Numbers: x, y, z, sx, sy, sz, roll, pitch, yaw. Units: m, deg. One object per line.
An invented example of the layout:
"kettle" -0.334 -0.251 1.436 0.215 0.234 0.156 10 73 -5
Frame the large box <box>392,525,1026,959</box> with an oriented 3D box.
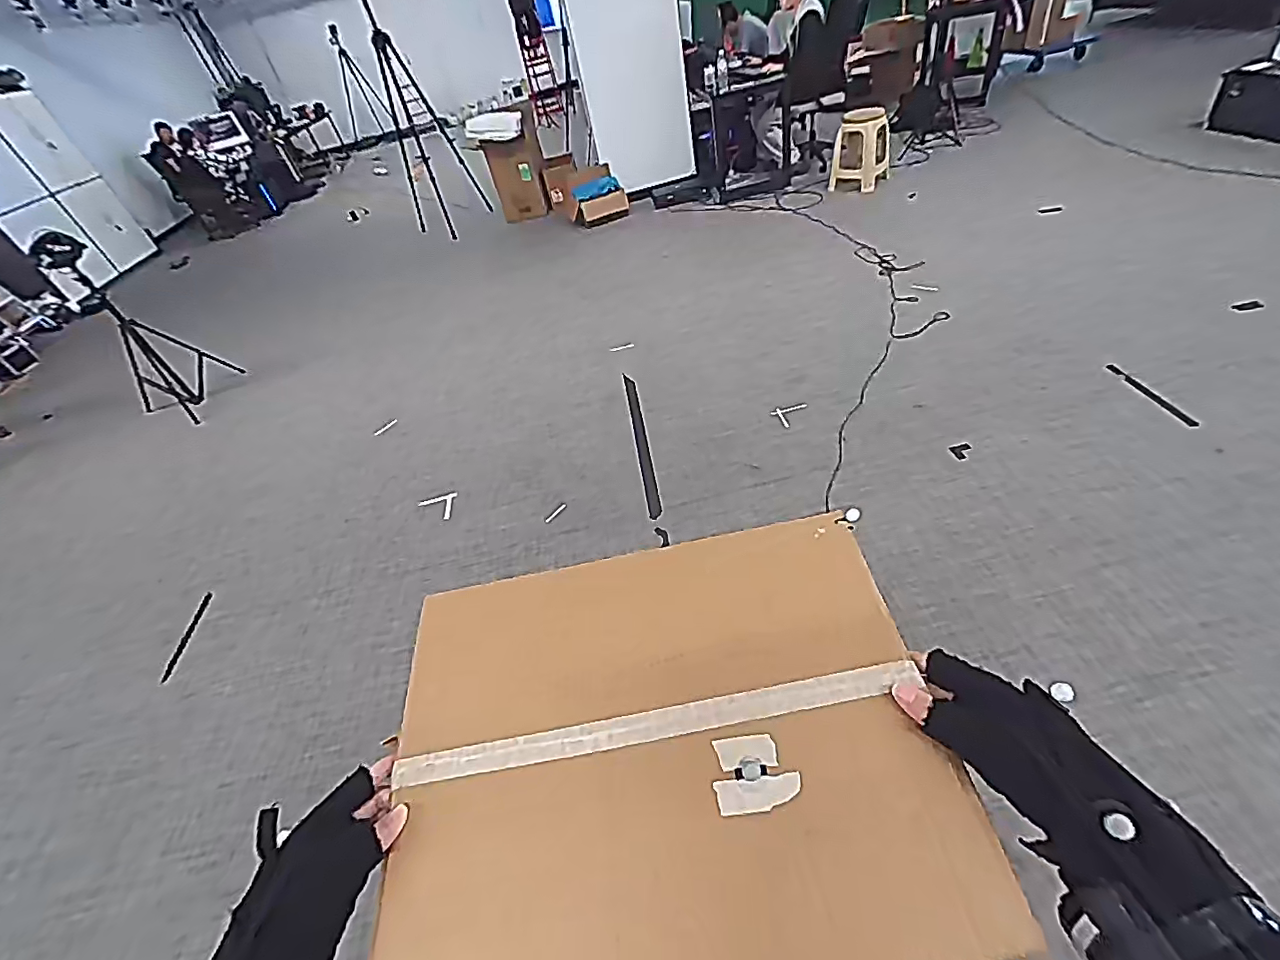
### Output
"large box" 0.039 0.293 0.531 0.408 0.320 0.320 -12 49 2
